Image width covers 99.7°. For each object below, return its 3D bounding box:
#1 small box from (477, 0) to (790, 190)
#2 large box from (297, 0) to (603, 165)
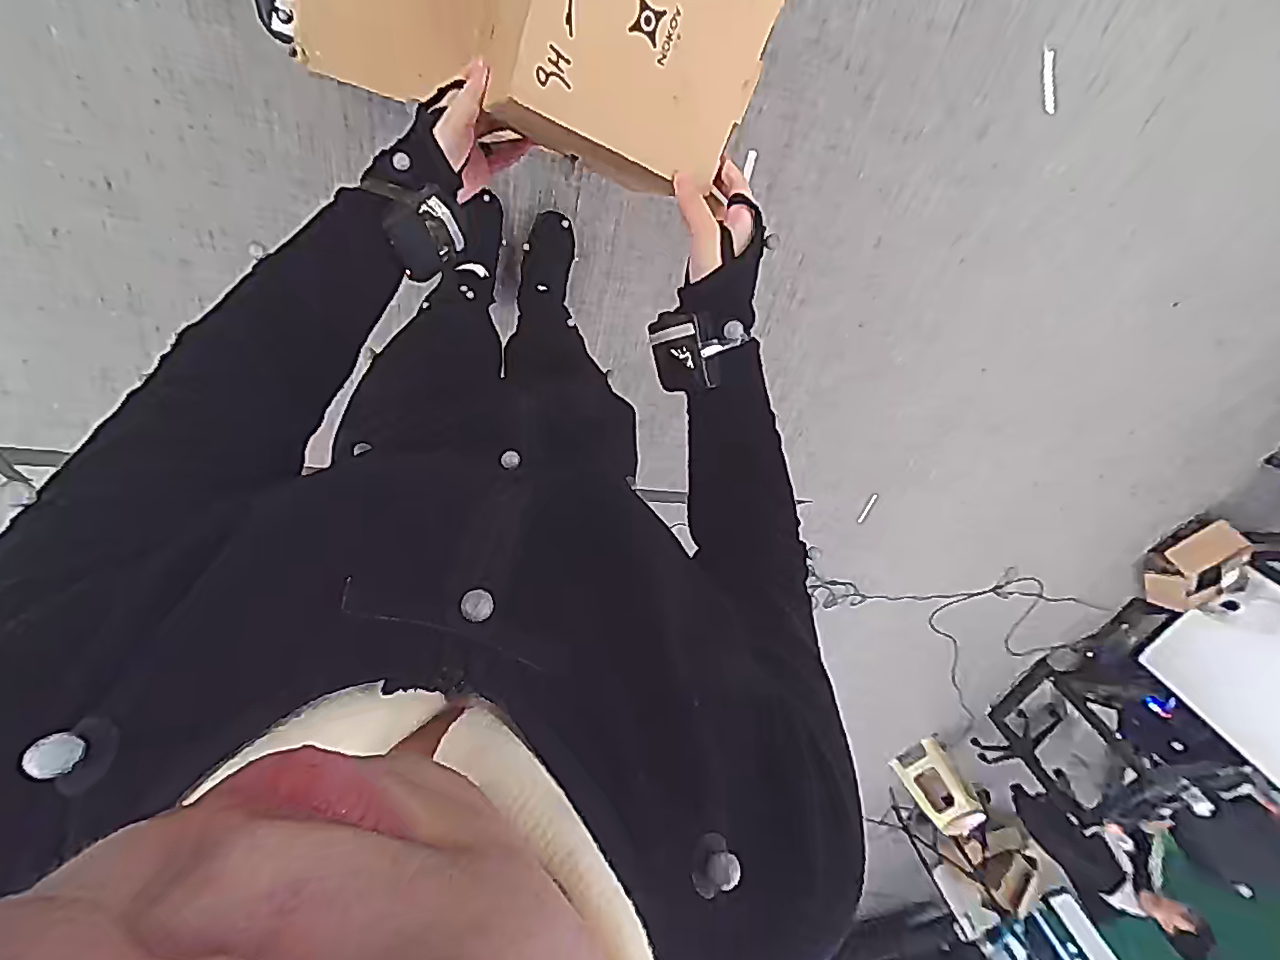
[{"bbox_3d":[-0.014,-0.360,0.435,0.179,0.176,0.168,10,113,-31],"label":"small box"},{"bbox_3d":[-0.196,-0.672,0.731,0.408,0.320,0.320,8,123,-20],"label":"large box"}]
